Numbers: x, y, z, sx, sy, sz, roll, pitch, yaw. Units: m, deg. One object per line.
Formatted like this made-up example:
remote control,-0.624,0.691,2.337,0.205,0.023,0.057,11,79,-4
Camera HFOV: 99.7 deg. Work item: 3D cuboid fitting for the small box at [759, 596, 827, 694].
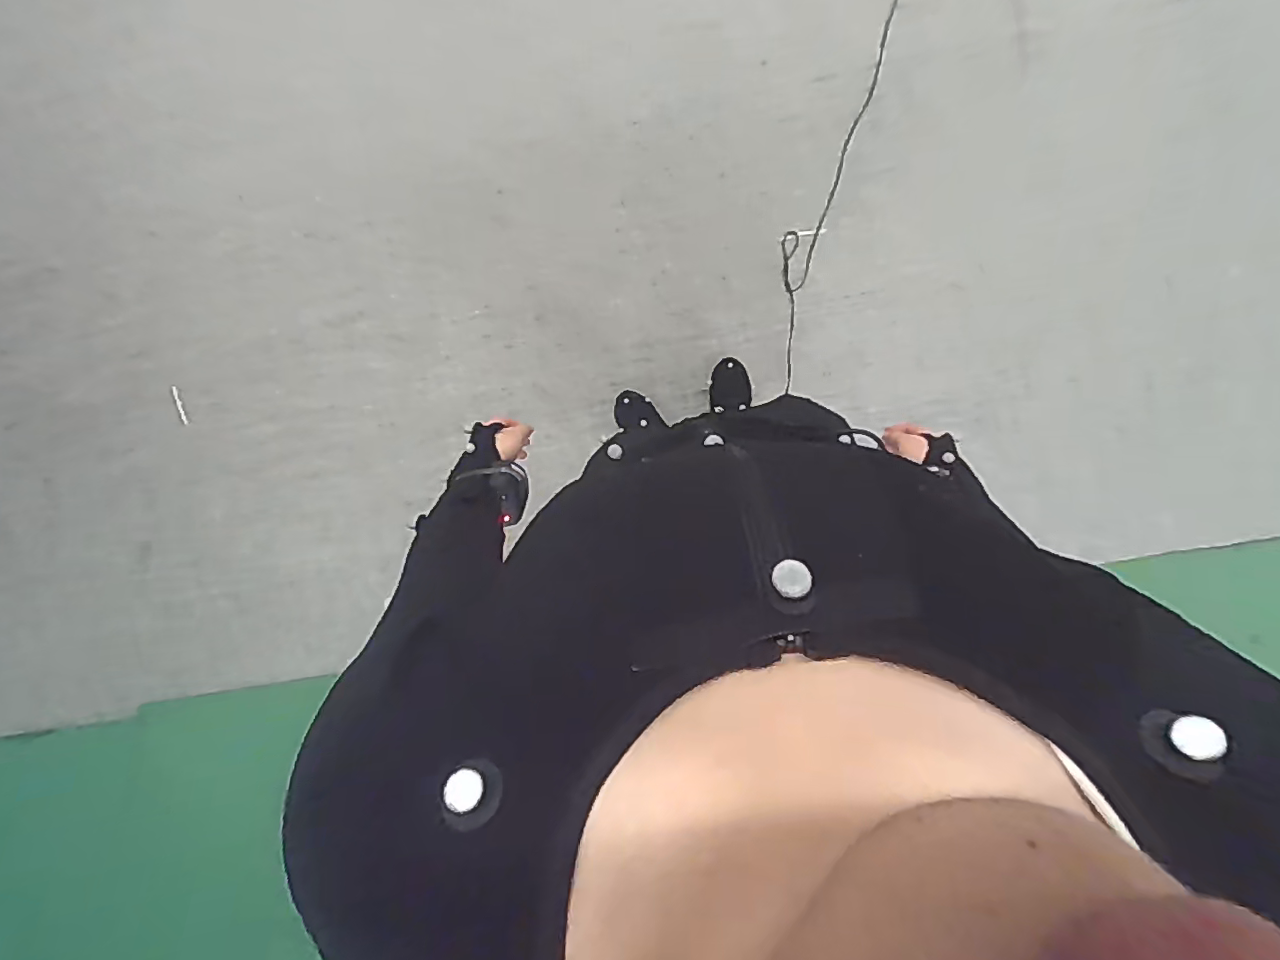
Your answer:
small box,0.414,0.426,1.410,0.168,0.176,0.179,-12,98,6
